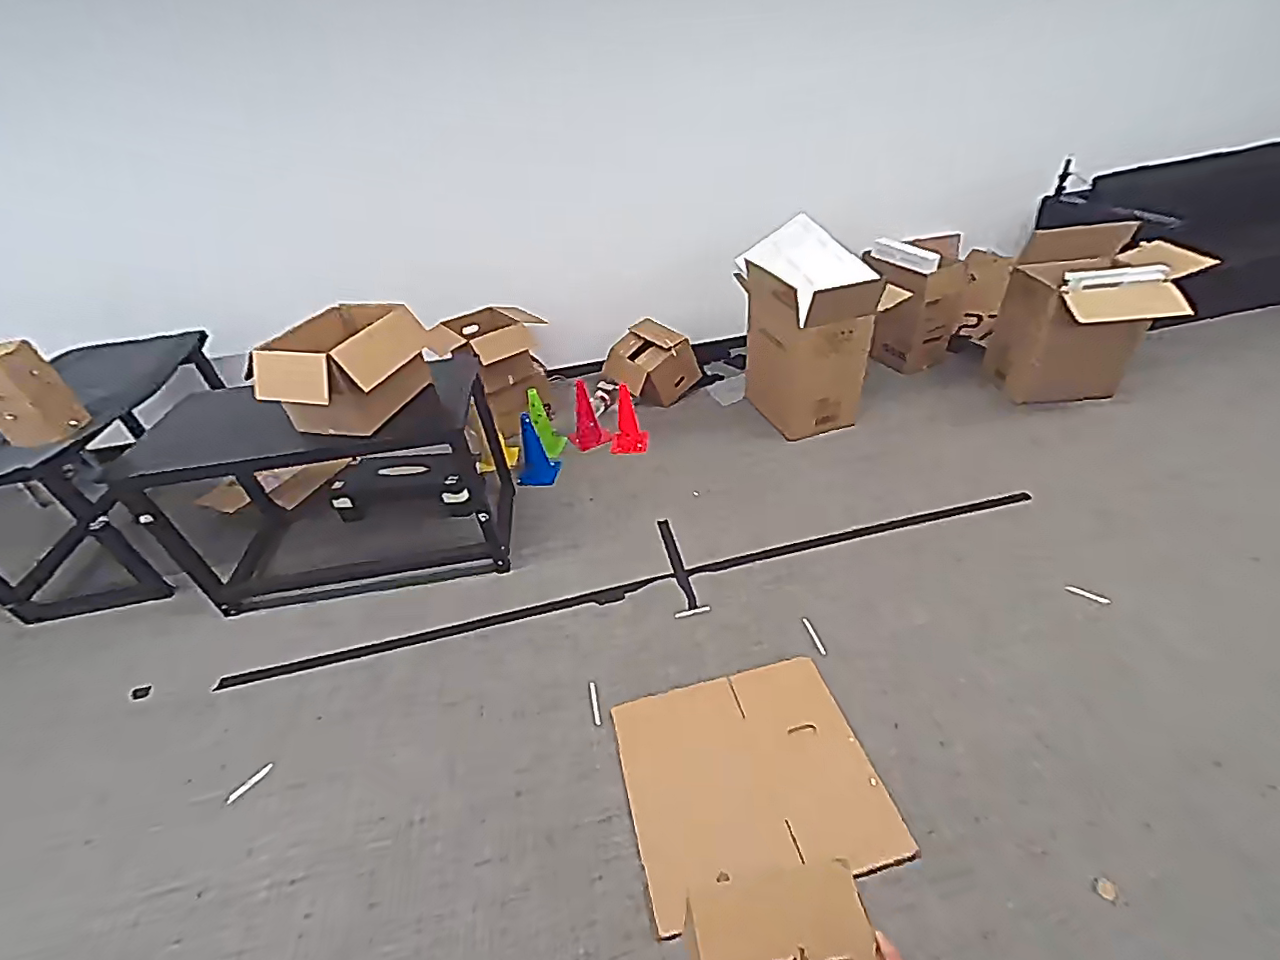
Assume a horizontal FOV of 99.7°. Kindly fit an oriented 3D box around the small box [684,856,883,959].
[{"bbox_3d":[0.145,0.524,0.554,0.179,0.176,0.168,-6,38,-7],"label":"small box"}]
